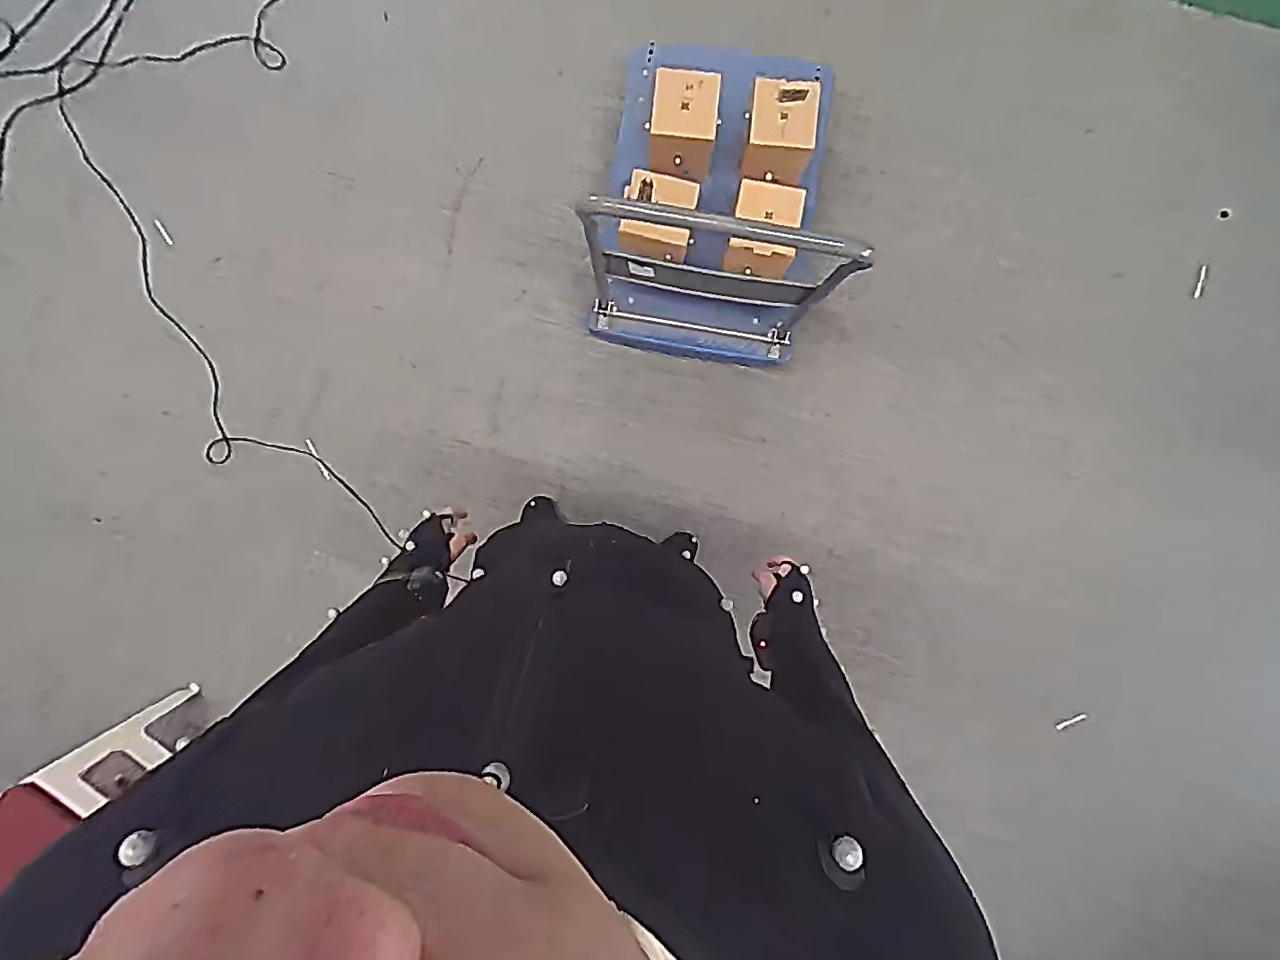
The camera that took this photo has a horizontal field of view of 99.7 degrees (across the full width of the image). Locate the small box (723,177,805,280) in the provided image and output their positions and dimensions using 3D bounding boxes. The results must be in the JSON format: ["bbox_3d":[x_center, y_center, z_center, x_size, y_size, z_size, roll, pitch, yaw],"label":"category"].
[{"bbox_3d":[0.322,-0.662,1.438,0.168,0.176,0.179,10,88,1],"label":"small box"}]

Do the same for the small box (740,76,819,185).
[{"bbox_3d":[0.366,-0.928,1.447,0.168,0.176,0.179,6,89,2],"label":"small box"}]

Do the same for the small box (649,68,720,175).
[{"bbox_3d":[0.115,-0.952,1.451,0.168,0.176,0.179,6,88,0],"label":"small box"}]
